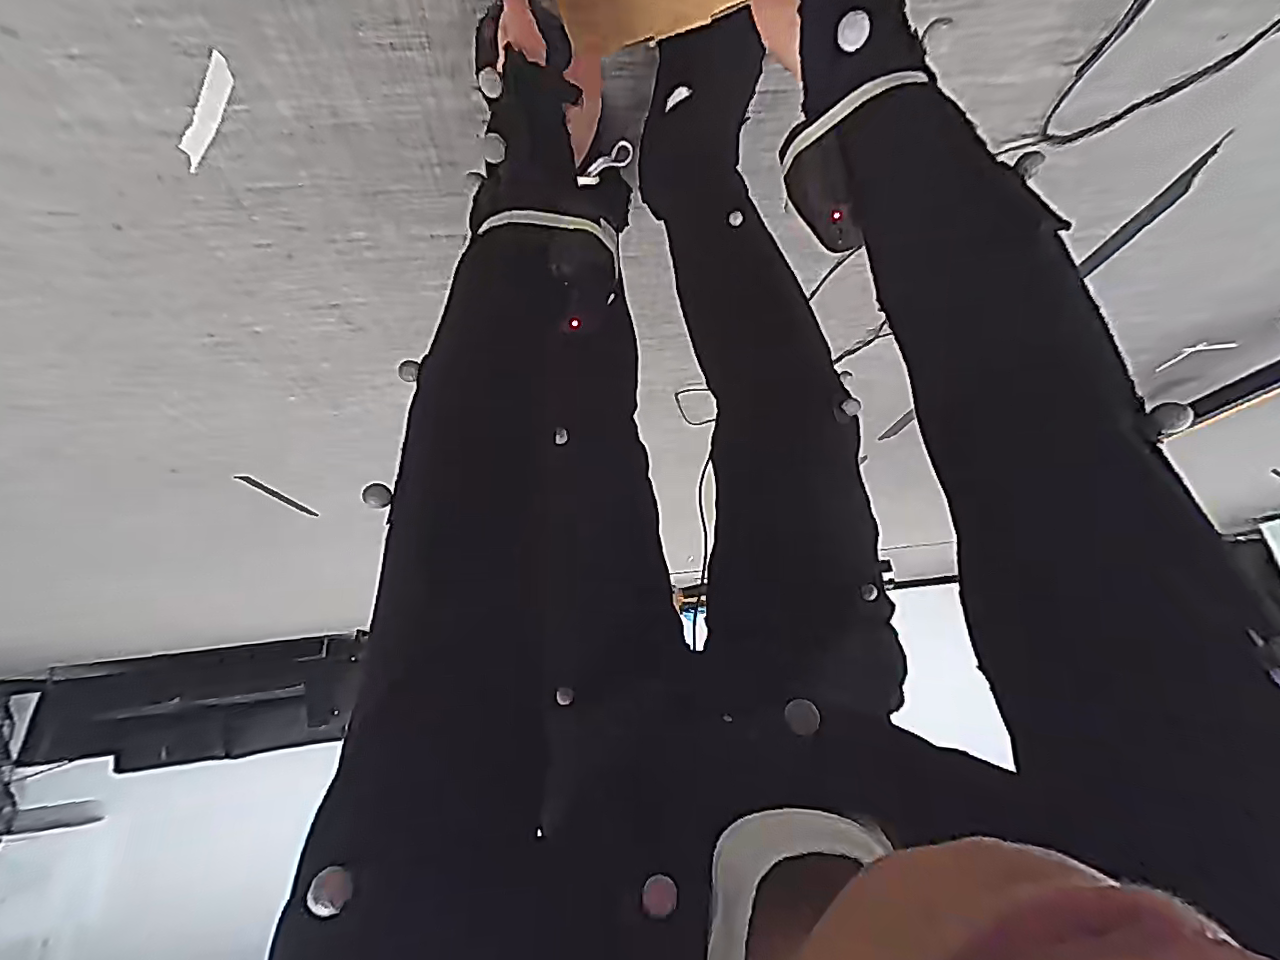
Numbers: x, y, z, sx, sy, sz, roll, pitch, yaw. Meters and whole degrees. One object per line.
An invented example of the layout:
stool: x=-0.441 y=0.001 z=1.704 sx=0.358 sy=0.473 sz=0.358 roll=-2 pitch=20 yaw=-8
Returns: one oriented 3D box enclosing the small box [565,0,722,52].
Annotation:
small box: x=0.002 y=-0.443 z=0.346 sx=0.168 sy=0.176 sz=0.179 roll=-12 pitch=160 yaw=12
